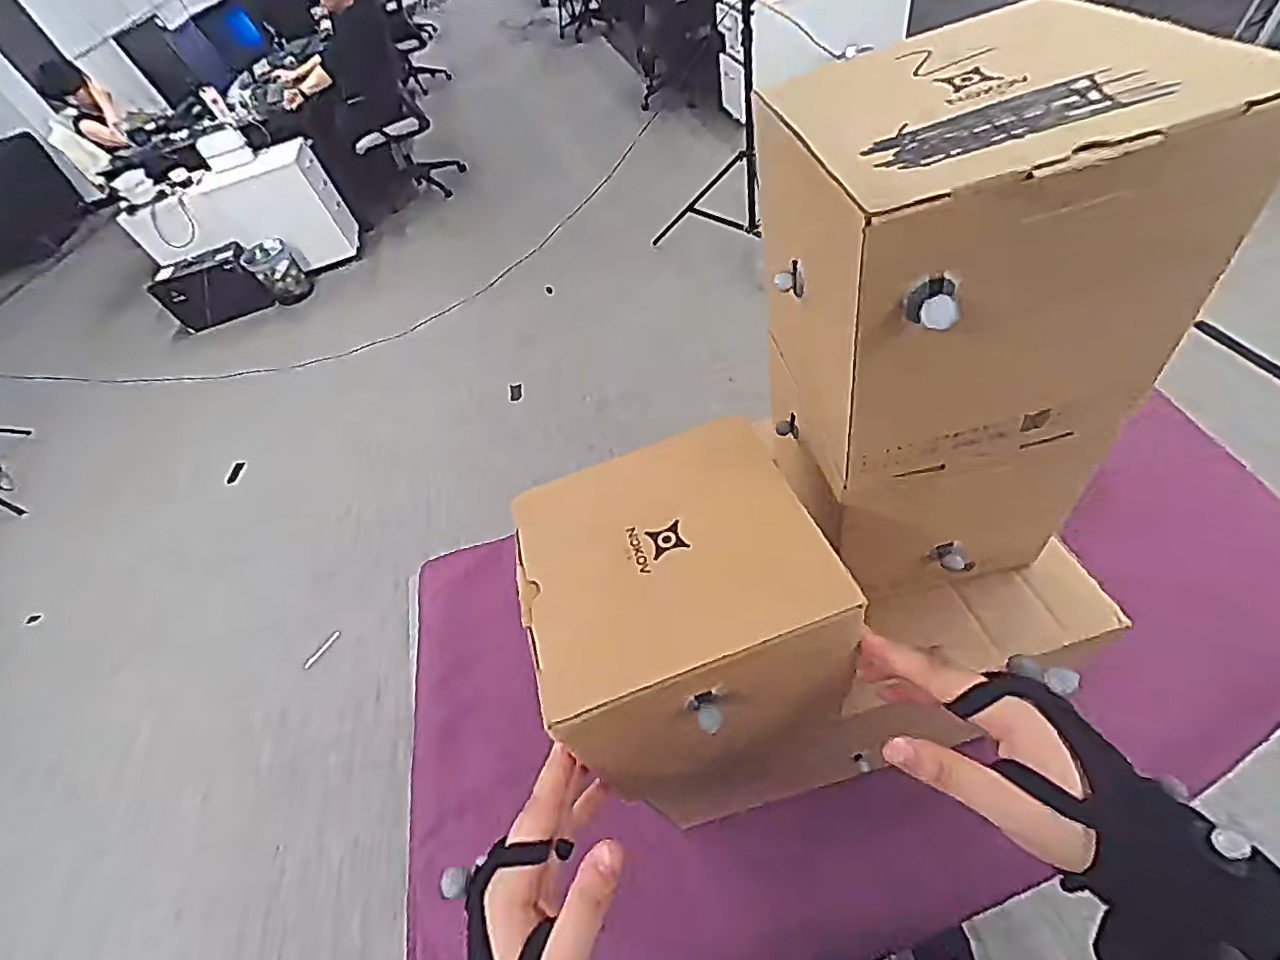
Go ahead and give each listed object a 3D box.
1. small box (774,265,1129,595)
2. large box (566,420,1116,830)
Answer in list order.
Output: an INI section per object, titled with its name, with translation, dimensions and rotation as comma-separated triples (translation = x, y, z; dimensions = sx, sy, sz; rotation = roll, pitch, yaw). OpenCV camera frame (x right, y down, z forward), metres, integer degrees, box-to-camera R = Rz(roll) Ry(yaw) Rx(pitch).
[small box]
translation = 0.211, -0.035, 0.433
dimensions = 0.168, 0.176, 0.179
rotation = -15, 49, 6
[large box]
translation = 0.174, 0.151, 0.617
dimensions = 0.408, 0.320, 0.320
rotation = -19, 49, 1
